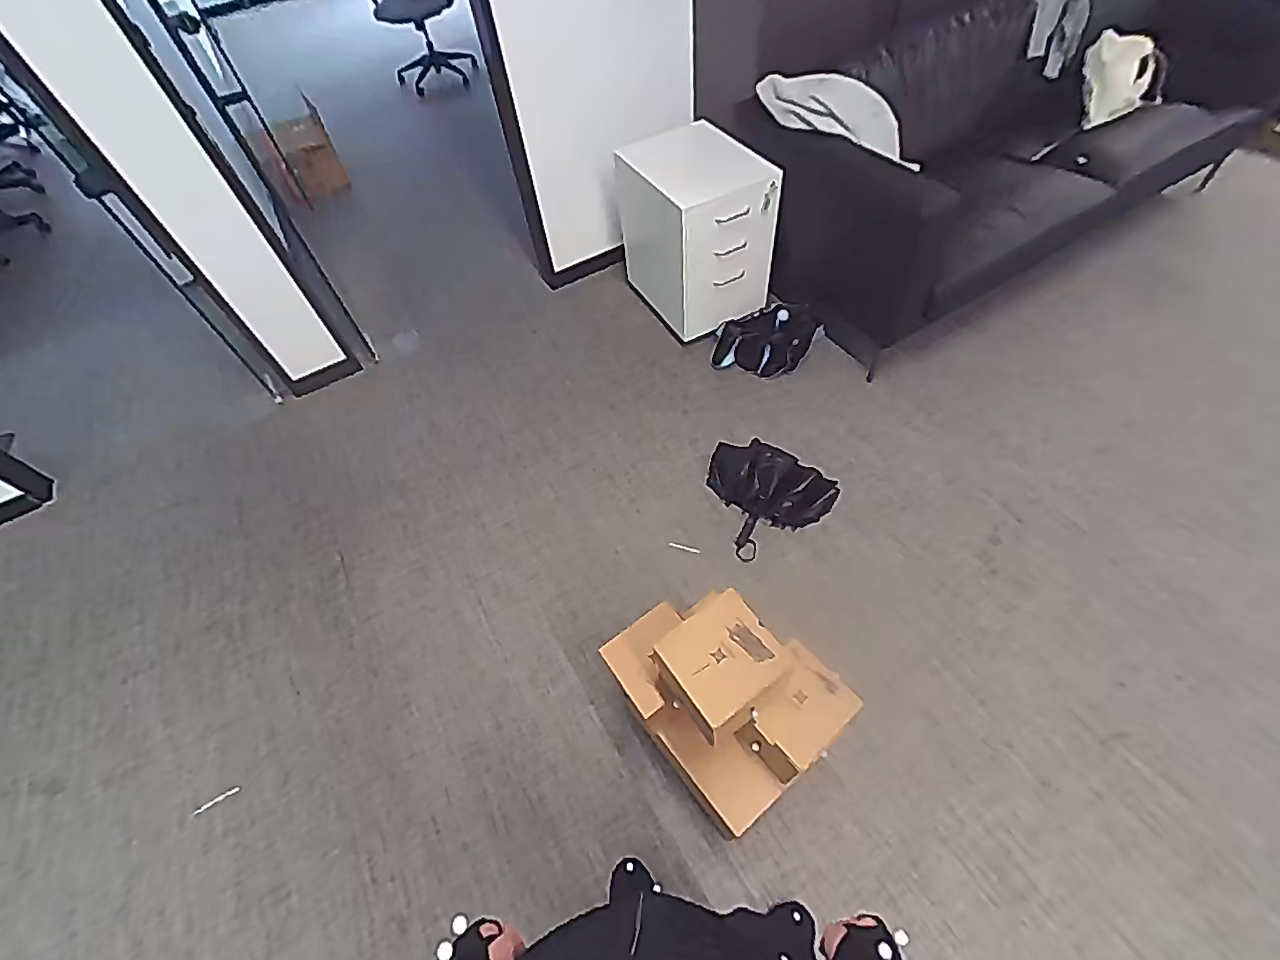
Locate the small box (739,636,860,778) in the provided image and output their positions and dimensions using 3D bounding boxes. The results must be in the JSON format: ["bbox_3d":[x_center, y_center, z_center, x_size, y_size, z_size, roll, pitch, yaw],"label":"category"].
[{"bbox_3d":[0.292,0.446,1.052,0.179,0.176,0.168,-36,58,-19],"label":"small box"}]

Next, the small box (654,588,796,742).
[{"bbox_3d":[0.144,0.328,0.951,0.179,0.176,0.168,-32,57,-14],"label":"small box"}]
